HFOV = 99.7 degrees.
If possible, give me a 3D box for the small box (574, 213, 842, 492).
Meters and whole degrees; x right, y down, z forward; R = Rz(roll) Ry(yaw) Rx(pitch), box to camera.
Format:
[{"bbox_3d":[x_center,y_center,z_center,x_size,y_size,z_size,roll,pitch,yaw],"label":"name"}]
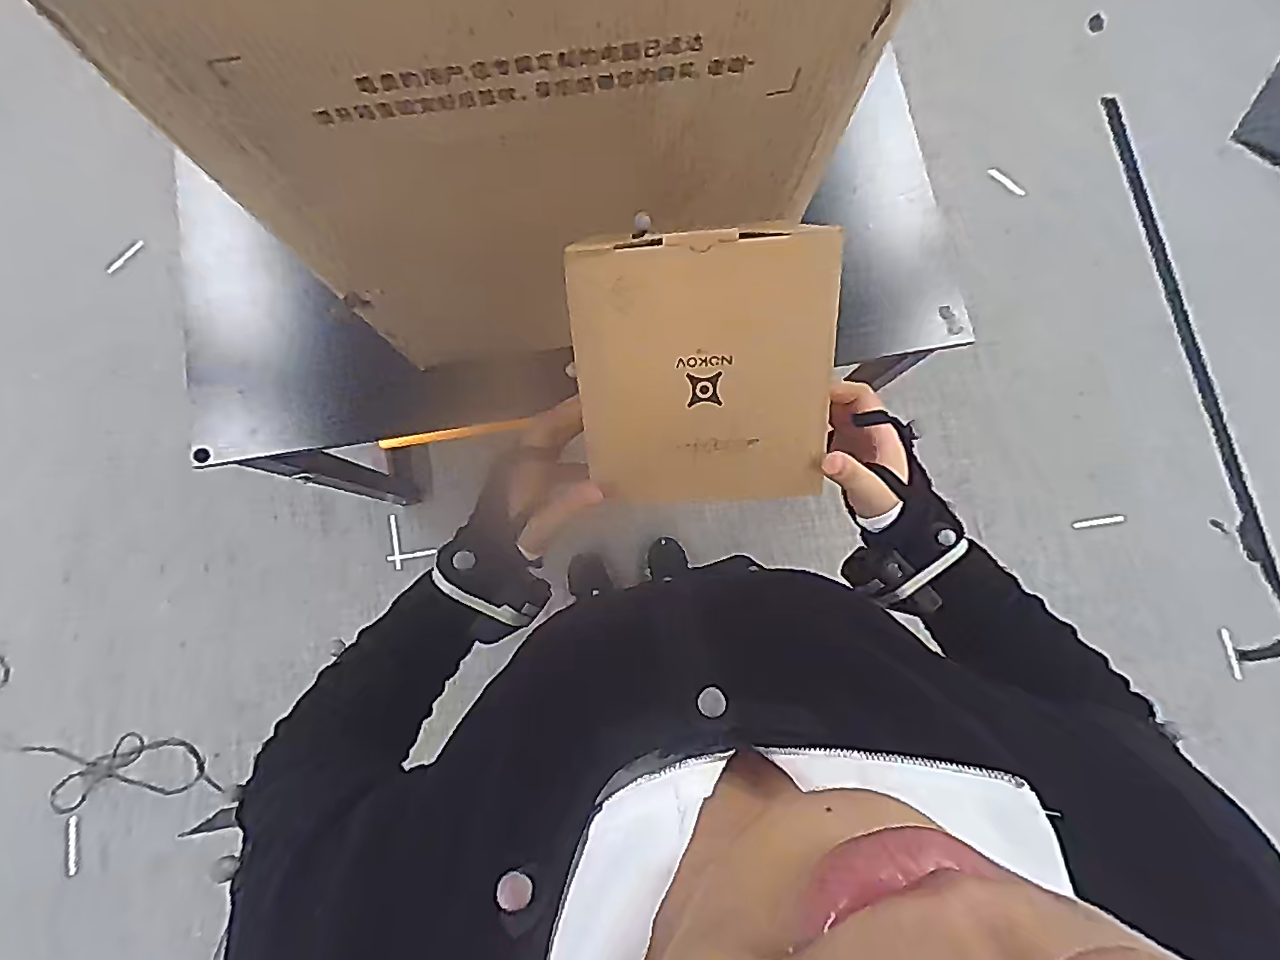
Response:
[{"bbox_3d":[0.045,-0.107,0.429,0.168,0.176,0.179,-3,115,3],"label":"small box"}]
